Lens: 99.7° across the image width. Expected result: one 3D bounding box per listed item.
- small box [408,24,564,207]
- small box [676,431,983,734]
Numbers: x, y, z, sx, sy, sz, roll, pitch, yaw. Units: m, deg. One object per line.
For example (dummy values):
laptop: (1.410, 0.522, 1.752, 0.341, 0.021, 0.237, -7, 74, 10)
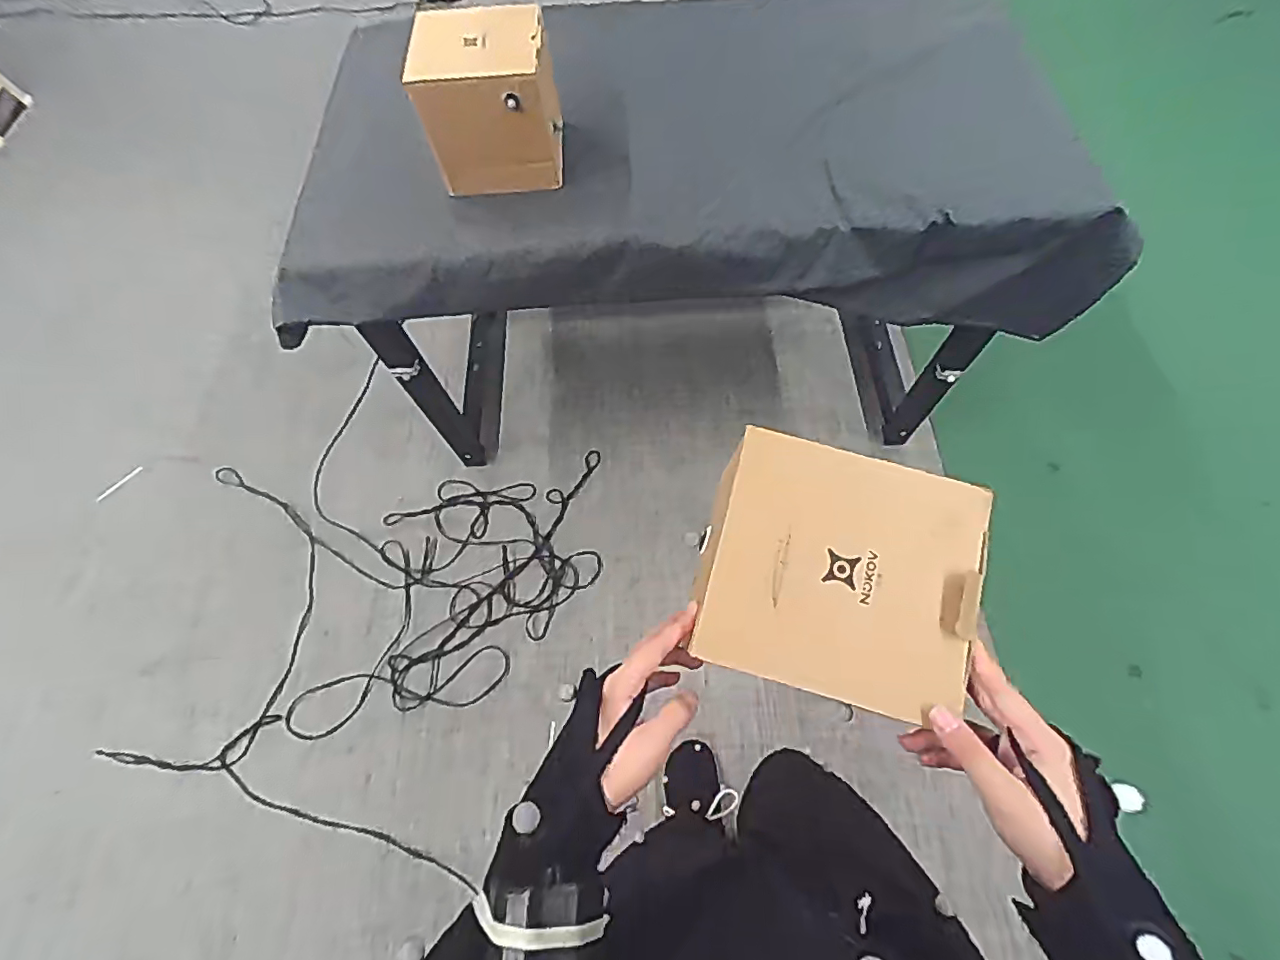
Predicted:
small box: (-0.217, -0.534, 0.808, 0.179, 0.176, 0.168, -4, 64, 1)
small box: (0.134, 0.081, 0.436, 0.179, 0.176, 0.168, 14, 75, 6)
